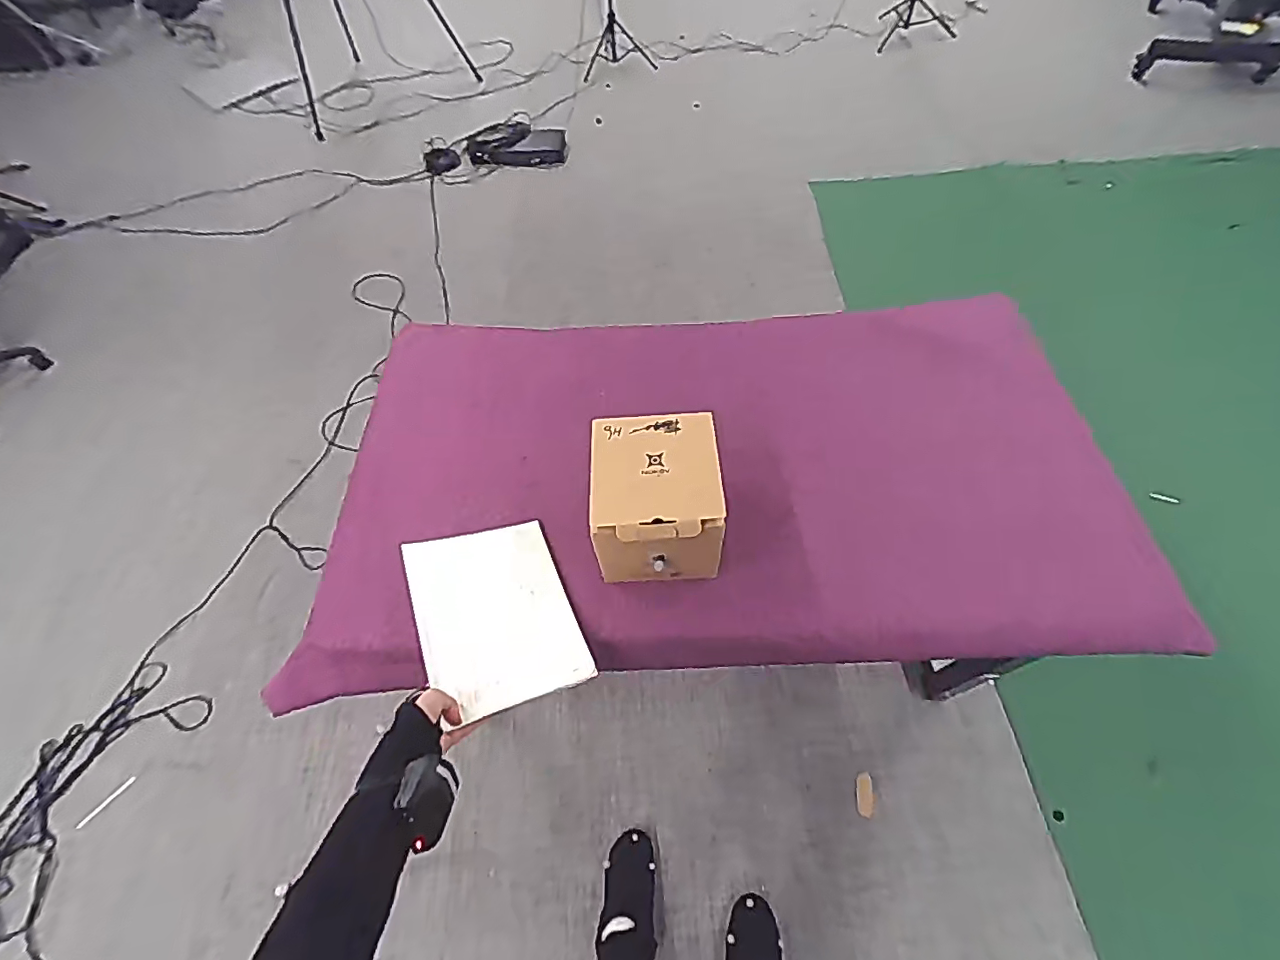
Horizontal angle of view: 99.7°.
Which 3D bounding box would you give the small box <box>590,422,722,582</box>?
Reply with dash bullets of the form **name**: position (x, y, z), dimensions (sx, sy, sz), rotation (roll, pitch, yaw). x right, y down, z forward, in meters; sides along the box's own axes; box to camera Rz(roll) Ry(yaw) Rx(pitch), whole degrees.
- **small box**: position (0.024, 0.039, 0.766), dimensions (0.168, 0.176, 0.179), rotation (-2, 58, 2)
